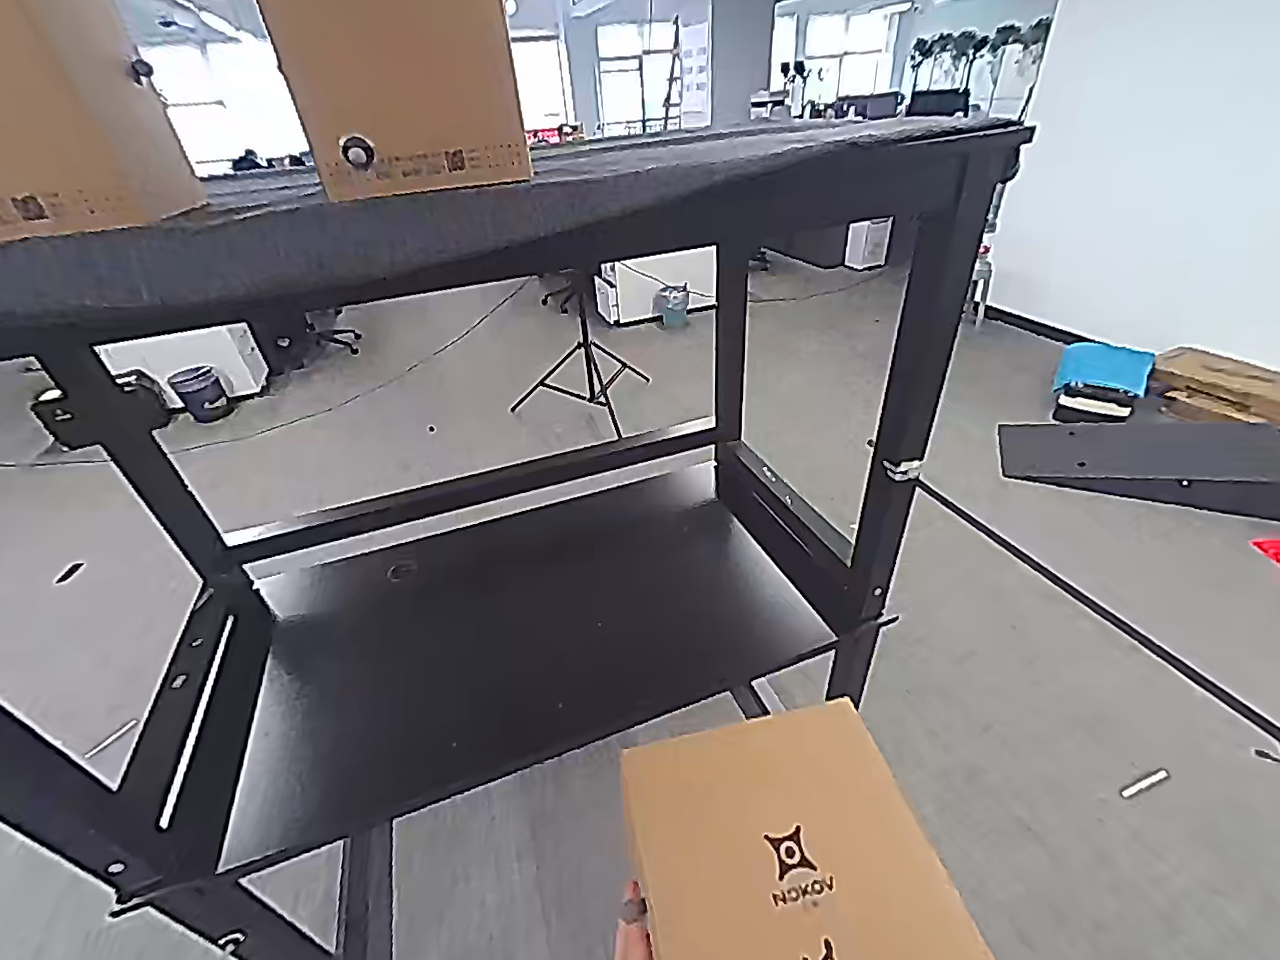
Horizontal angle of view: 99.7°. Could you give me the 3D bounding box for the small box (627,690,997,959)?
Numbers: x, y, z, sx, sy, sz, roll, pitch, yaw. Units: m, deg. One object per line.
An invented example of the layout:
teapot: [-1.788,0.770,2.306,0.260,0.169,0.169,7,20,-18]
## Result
small box: [0.086,0.273,0.356,0.168,0.176,0.179,-9,41,-9]

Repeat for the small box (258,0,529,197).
small box: [-0.202,-0.349,0.466,0.168,0.176,0.179,-15,34,-14]
